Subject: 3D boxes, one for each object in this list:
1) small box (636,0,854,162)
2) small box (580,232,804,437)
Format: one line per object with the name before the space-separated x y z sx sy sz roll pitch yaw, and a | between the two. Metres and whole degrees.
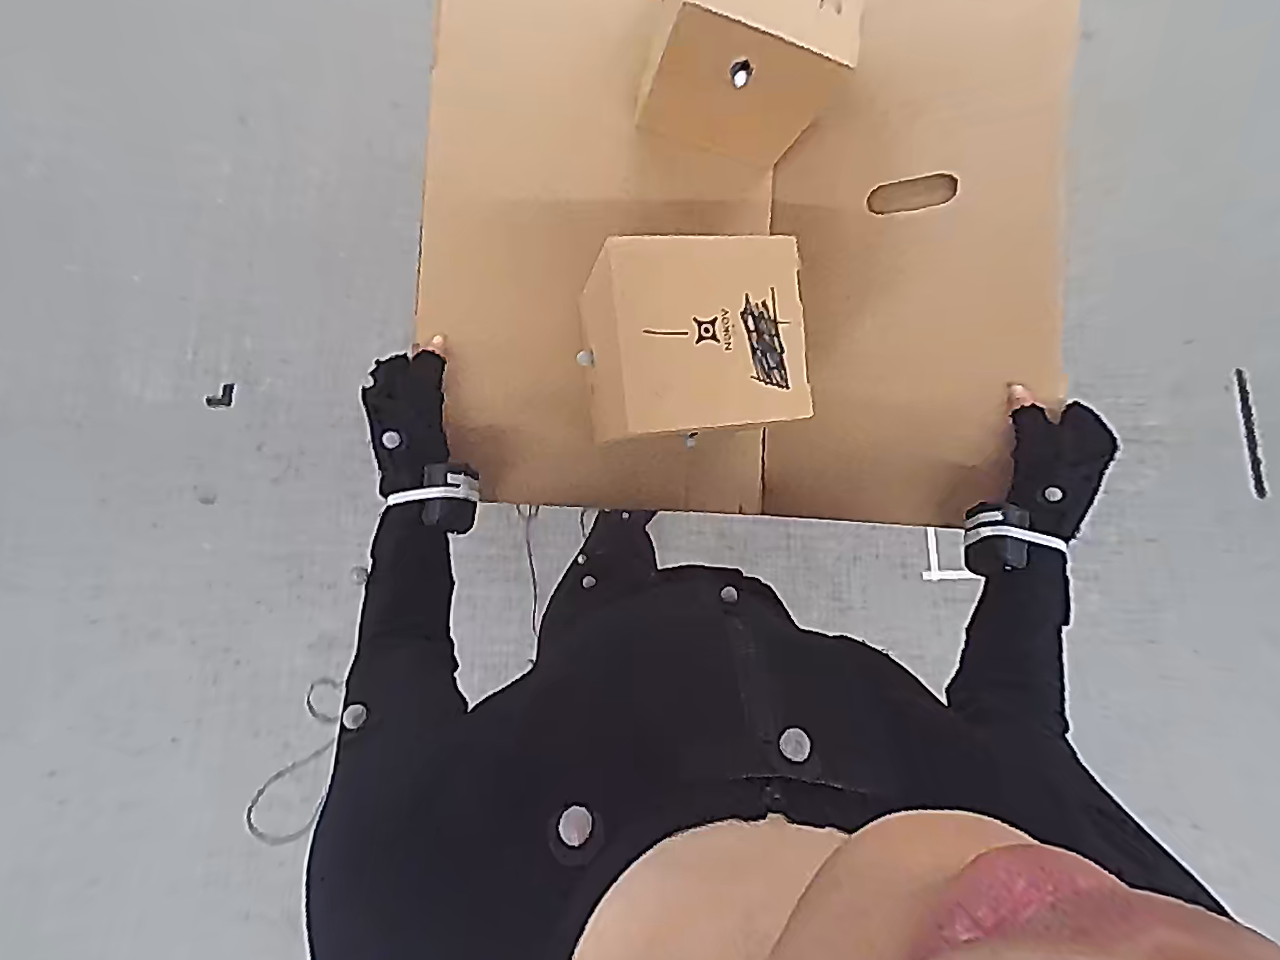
small box | 0.104 -0.480 0.578 0.179 0.176 0.168 10 87 -15
small box | 0.043 -0.137 0.557 0.179 0.176 0.168 -7 91 -14
